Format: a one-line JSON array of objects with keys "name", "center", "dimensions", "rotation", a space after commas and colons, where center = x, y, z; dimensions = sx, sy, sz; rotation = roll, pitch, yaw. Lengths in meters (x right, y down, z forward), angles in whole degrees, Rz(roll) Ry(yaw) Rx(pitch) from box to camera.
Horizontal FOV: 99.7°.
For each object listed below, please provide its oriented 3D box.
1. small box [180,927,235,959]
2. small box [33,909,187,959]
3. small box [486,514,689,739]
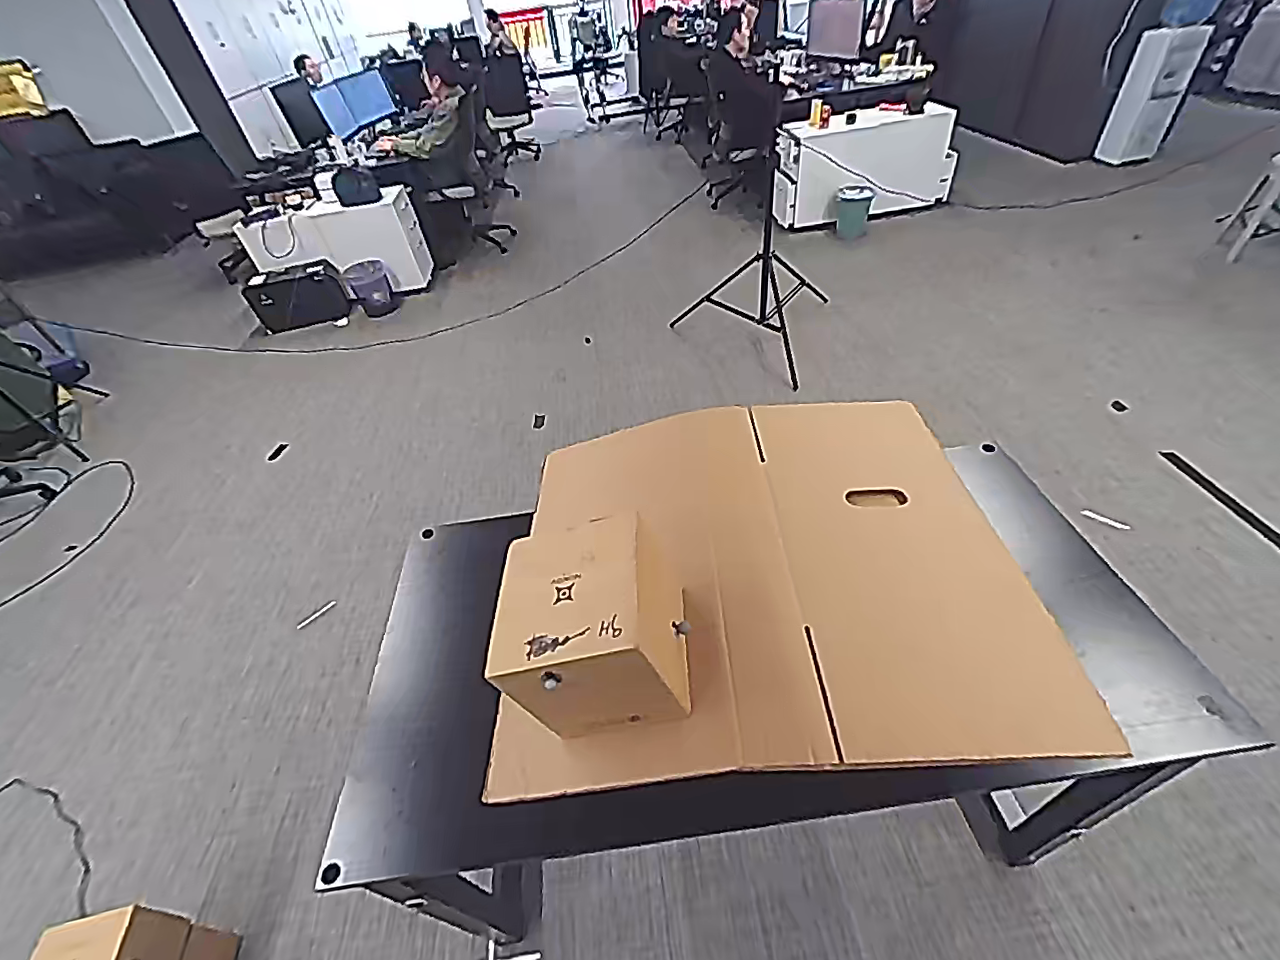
[{"name": "small box", "center": [-0.995, 1.072, 1.127], "dimensions": [0.168, 0.176, 0.179], "rotation": [-12, 44, -3]}, {"name": "small box", "center": [-1.016, 0.951, 1.020], "dimensions": [0.168, 0.176, 0.179], "rotation": [-13, 42, -5]}, {"name": "small box", "center": [-0.048, 0.172, 0.627], "dimensions": [0.168, 0.176, 0.179], "rotation": [-16, 41, 14]}]
